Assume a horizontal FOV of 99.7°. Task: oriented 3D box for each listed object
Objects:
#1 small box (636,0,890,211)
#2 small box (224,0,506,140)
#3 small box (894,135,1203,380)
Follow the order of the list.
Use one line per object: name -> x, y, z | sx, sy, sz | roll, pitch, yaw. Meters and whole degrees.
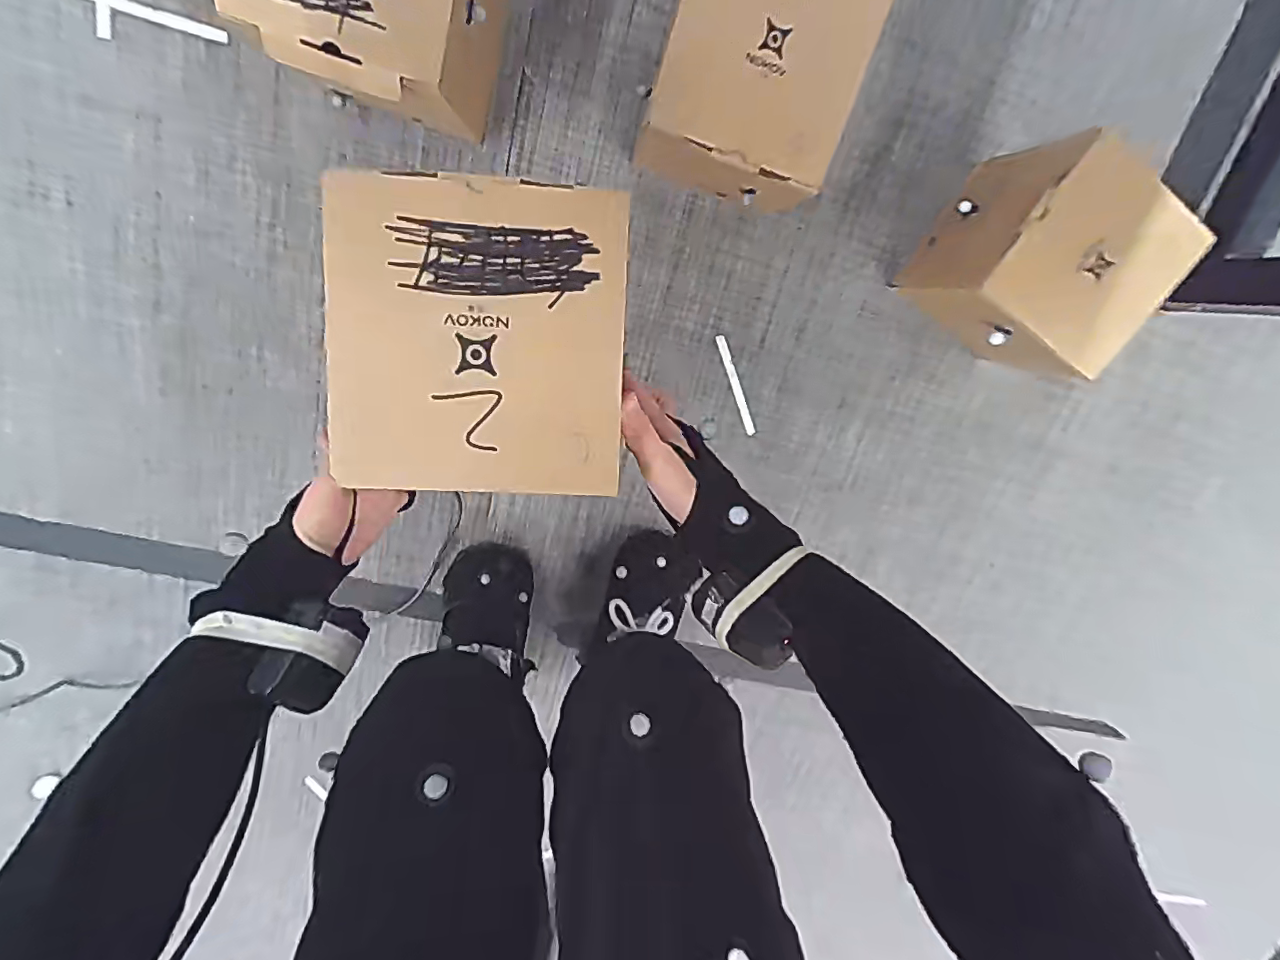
small box -> 0.099, -0.380, 0.519 | 0.168, 0.176, 0.179 | 14, 107, -12
small box -> -0.217, -0.428, 0.467 | 0.168, 0.176, 0.179 | 13, 107, -11
small box -> 0.433, -0.238, 0.605 | 0.179, 0.176, 0.168 | 29, 105, -14
